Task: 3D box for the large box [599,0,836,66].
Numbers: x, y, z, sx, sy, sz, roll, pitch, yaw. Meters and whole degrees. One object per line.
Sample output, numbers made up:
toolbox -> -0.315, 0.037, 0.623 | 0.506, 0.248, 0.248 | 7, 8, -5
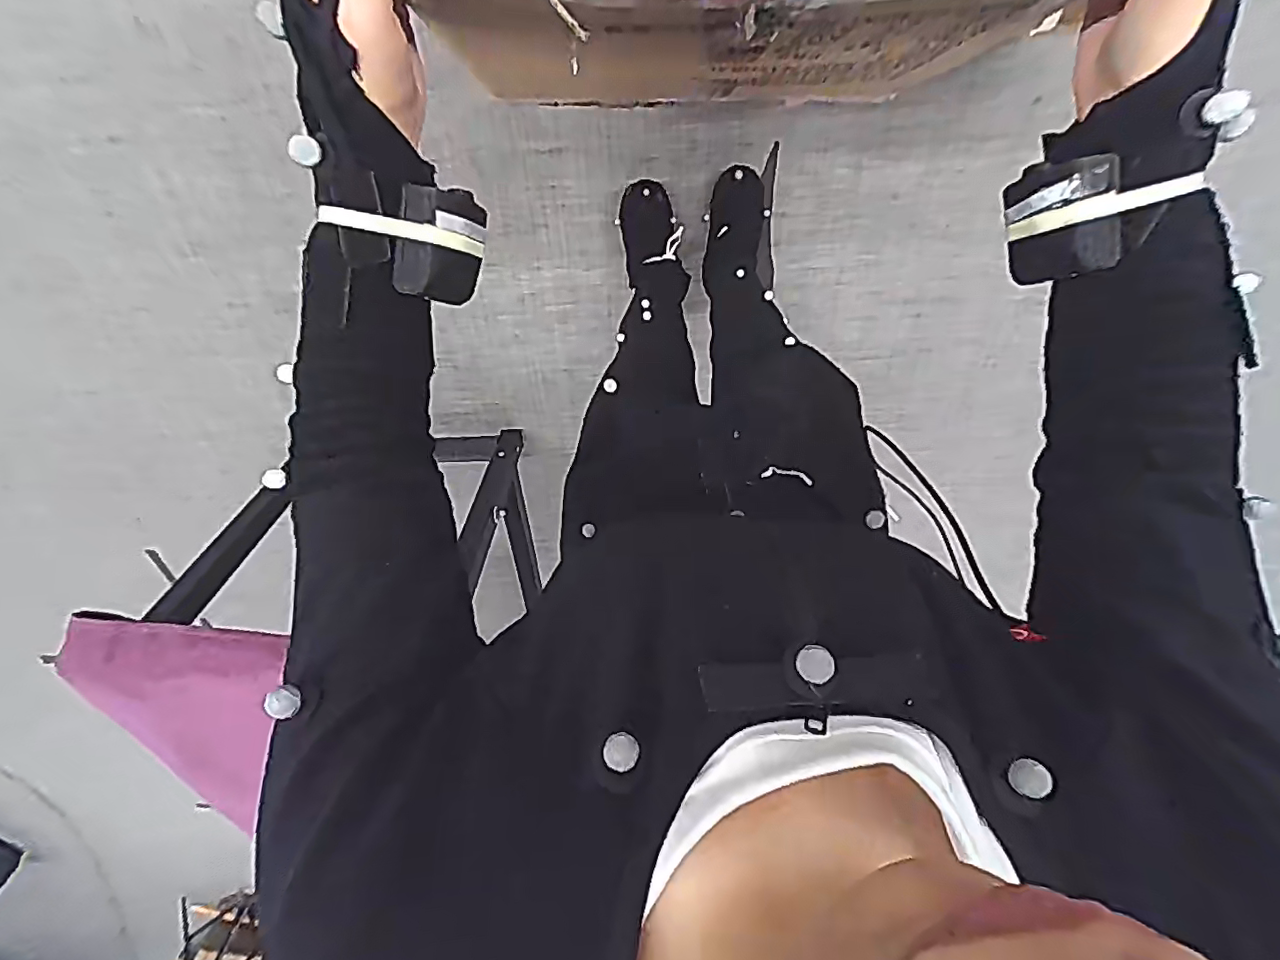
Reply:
large box -> 0.089, -0.827, 0.731 | 0.320, 0.320, 0.408 | -2, 128, 3
